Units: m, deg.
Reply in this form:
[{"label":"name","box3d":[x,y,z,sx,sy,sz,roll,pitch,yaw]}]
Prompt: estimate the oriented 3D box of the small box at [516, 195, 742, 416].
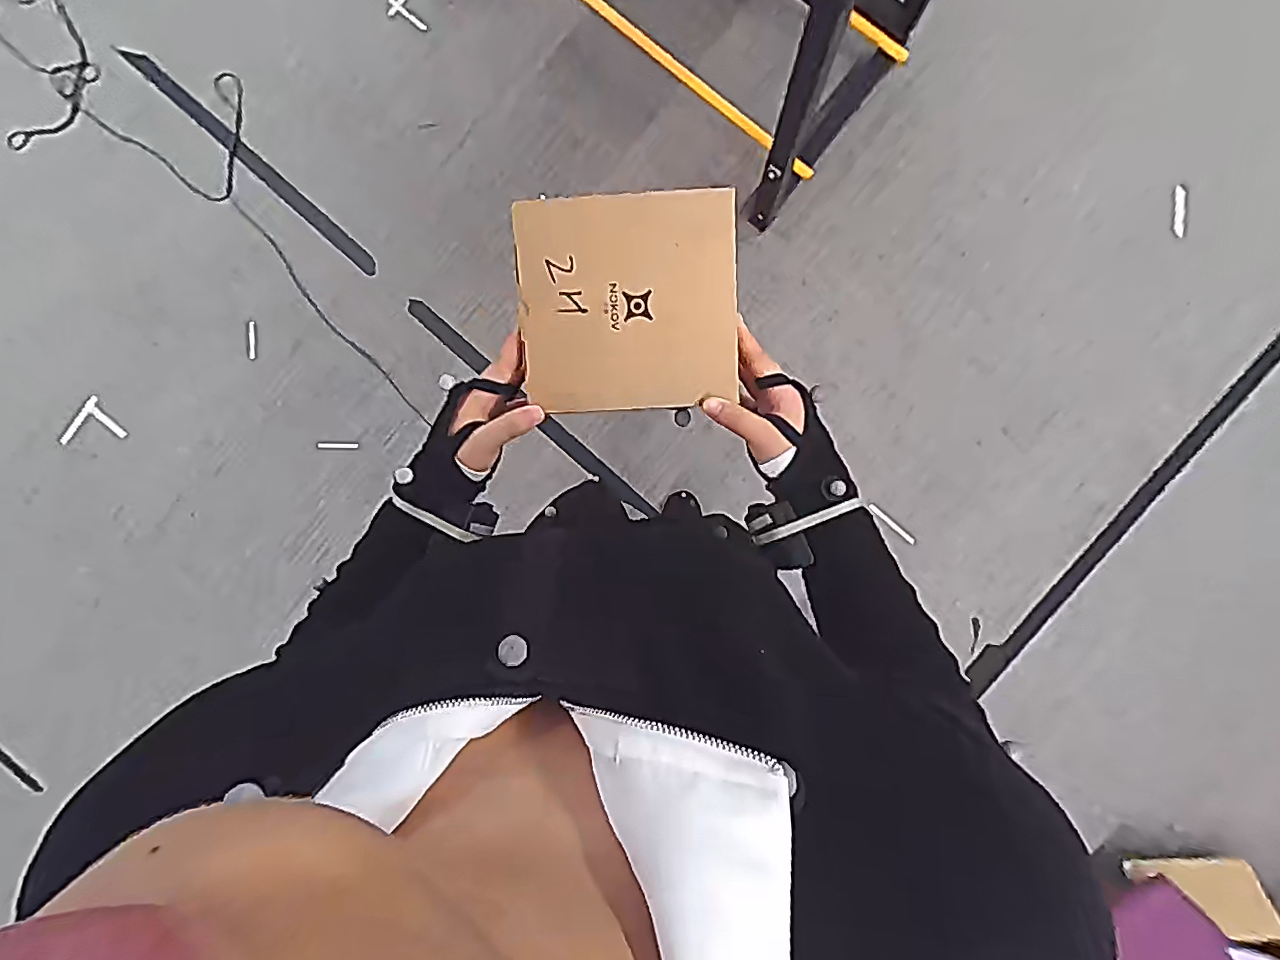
[{"label":"small box","box3d":[-0.005,-0.149,0.509,0.179,0.176,0.168,-2,98,3]}]
